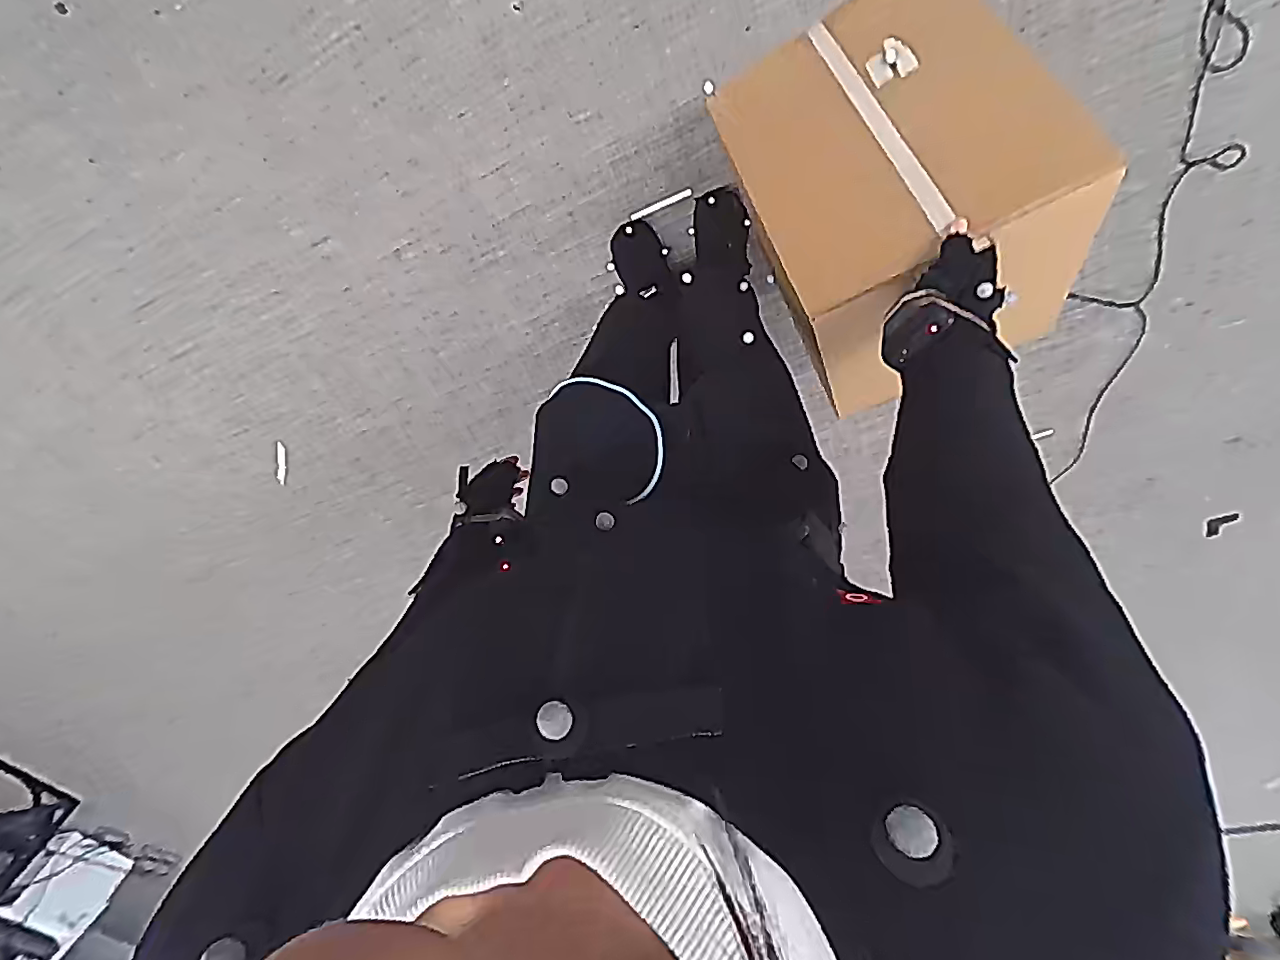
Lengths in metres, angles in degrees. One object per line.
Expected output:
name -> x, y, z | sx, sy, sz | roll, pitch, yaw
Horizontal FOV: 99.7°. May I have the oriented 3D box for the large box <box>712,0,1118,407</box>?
large box -> 0.350, -0.383, 0.776 | 0.320, 0.408, 0.320 | -24, 156, 18
